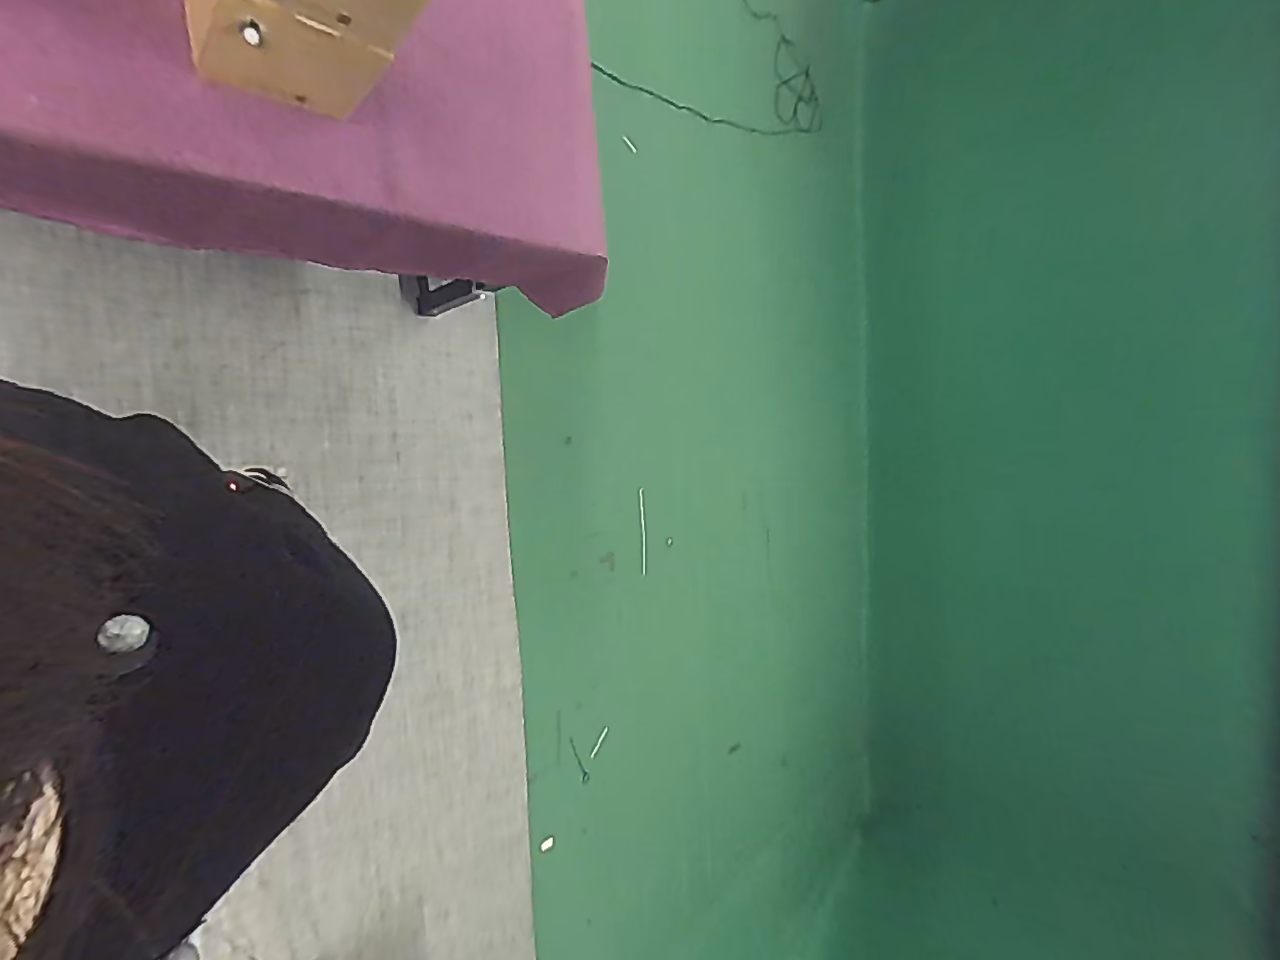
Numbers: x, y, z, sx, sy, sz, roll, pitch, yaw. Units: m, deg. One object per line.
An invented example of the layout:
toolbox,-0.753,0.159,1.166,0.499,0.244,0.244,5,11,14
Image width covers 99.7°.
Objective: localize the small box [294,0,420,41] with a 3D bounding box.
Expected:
small box,-0.294,-0.575,0.510,0.168,0.176,0.179,-12,97,-46
